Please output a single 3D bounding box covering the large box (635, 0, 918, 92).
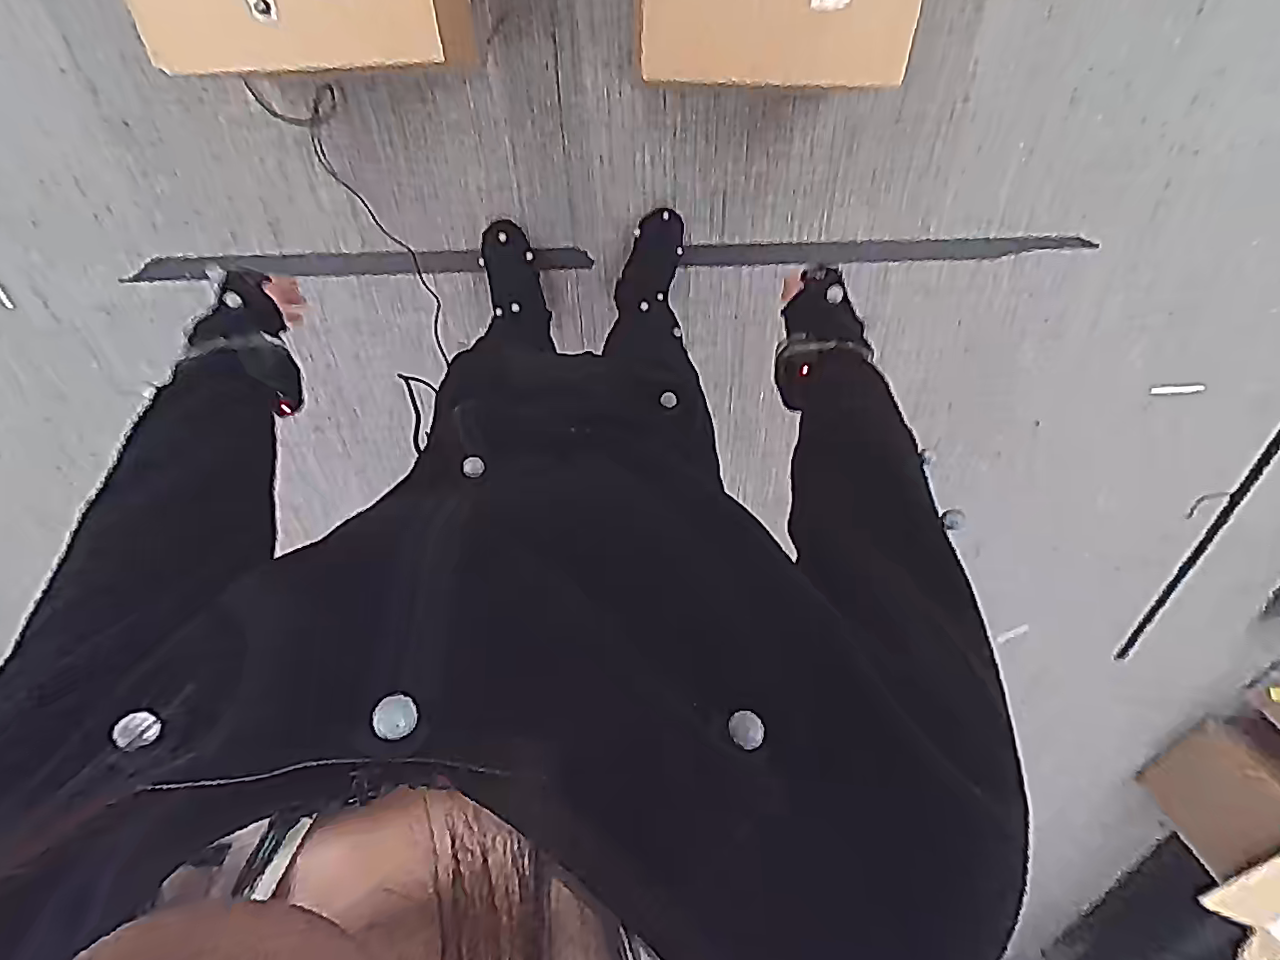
[{"bbox_3d":[0.198,-0.821,0.866,0.408,0.320,0.320,-1,124,-4],"label":"large box"}]
